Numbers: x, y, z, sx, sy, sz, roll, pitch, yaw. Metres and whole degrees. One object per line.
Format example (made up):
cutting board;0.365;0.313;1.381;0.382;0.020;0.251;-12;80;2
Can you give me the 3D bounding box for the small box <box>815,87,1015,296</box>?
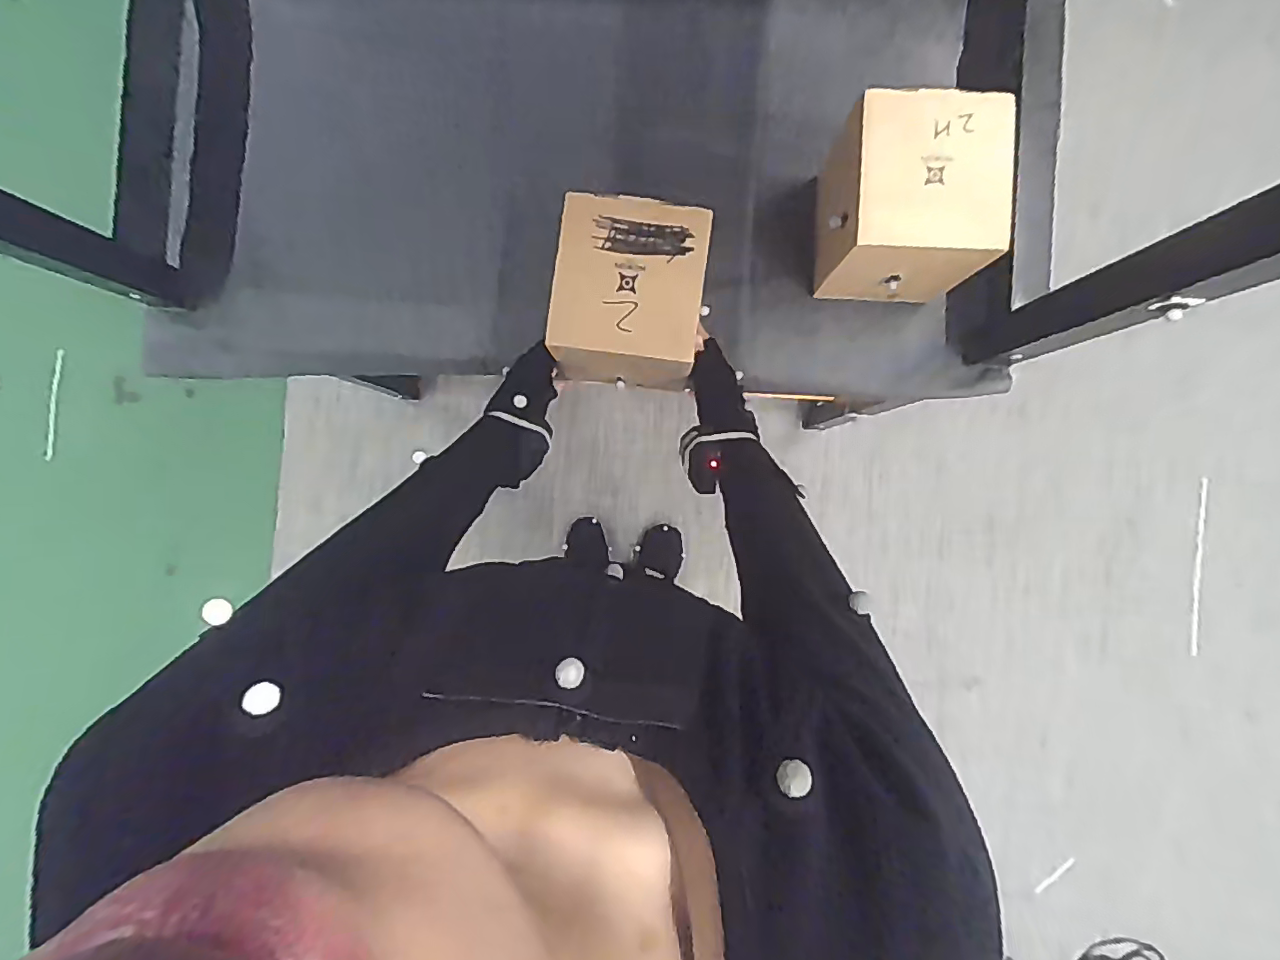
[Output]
small box;0.324;-0.341;0.671;0.168;0.176;0.179;3;89;1
